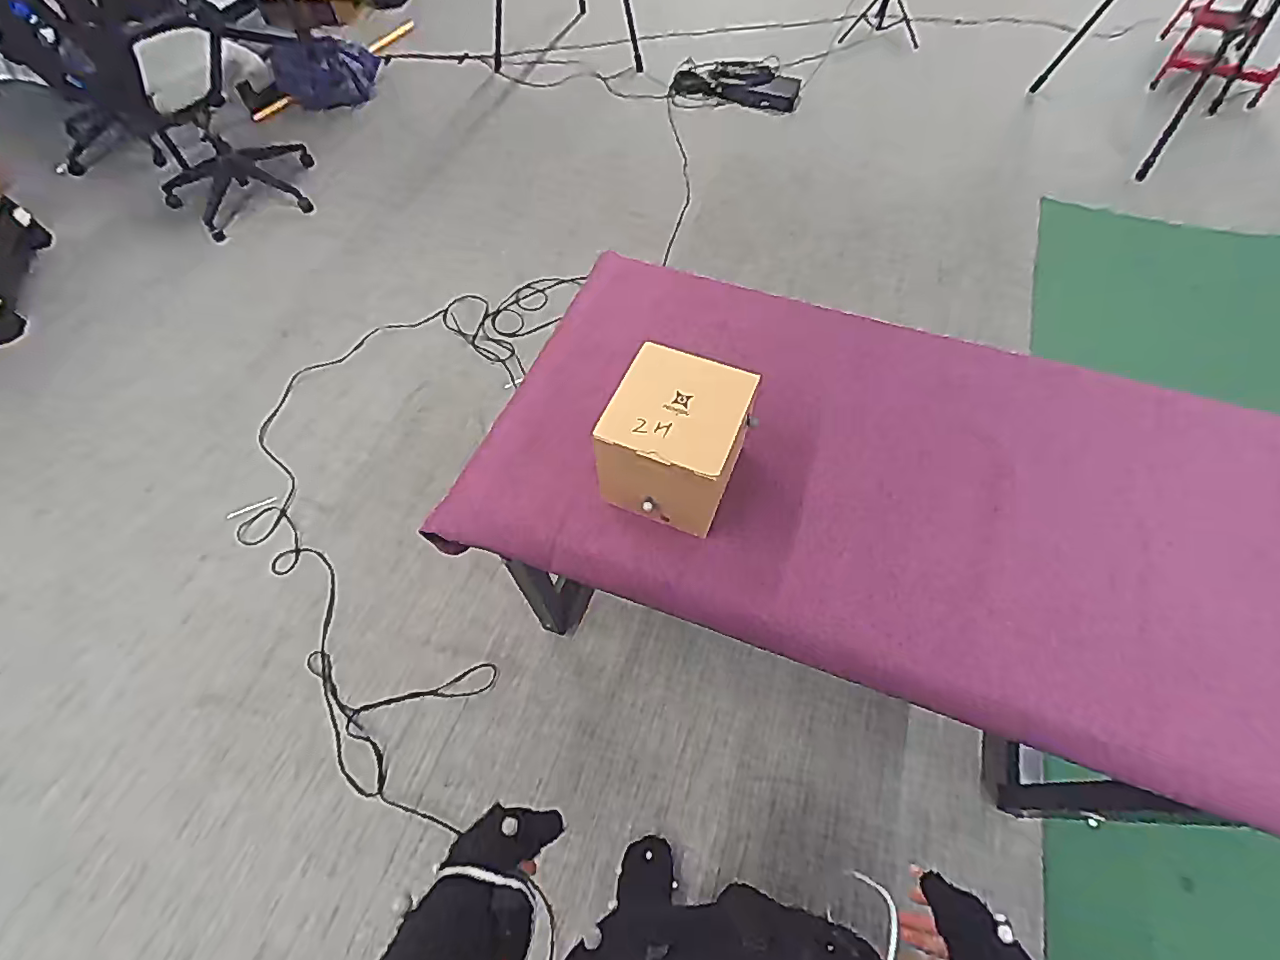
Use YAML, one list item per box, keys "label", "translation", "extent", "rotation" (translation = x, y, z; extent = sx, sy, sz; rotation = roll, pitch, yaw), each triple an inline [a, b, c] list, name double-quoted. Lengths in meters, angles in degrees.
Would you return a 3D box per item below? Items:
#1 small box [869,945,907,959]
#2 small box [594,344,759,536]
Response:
- label: "small box"
  translation: [0.459, 0.896, 0.858]
  extent: [0.168, 0.176, 0.179]
  rotation: [21, 61, 12]
- label: "small box"
  translation: [0.048, -0.052, 0.758]
  extent: [0.168, 0.176, 0.179]
  rotation: [21, 62, 12]
